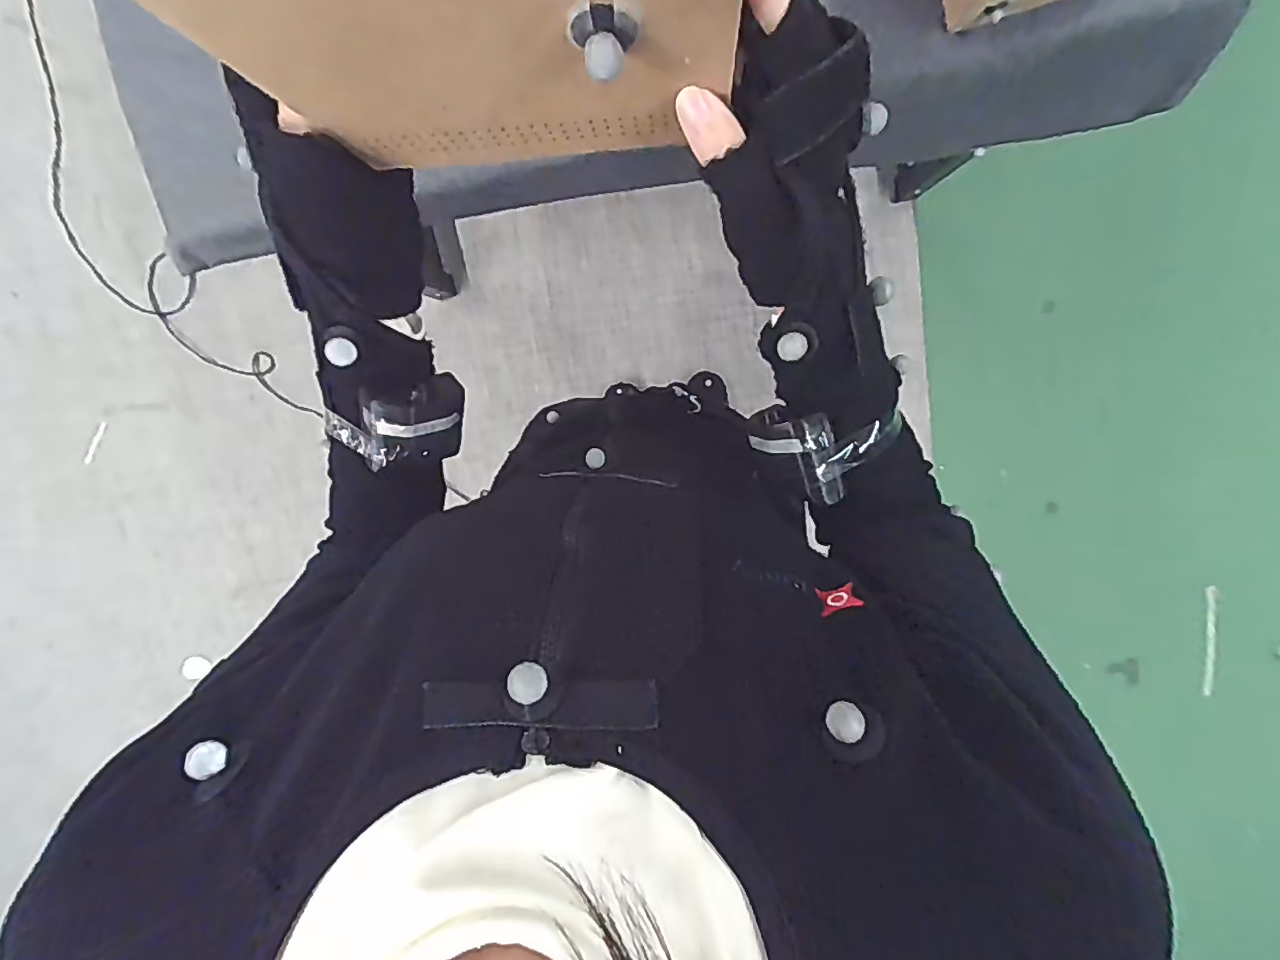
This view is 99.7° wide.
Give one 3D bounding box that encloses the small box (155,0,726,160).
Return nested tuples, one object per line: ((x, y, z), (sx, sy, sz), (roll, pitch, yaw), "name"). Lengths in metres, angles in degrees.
((-0.059, -0.229, 0.174), (0.179, 0.176, 0.168), (-2, 98, 7), "small box")

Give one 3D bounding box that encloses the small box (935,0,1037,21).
((0.371, -0.558, 0.477), (0.168, 0.176, 0.179), (-13, 99, 6), "small box")
